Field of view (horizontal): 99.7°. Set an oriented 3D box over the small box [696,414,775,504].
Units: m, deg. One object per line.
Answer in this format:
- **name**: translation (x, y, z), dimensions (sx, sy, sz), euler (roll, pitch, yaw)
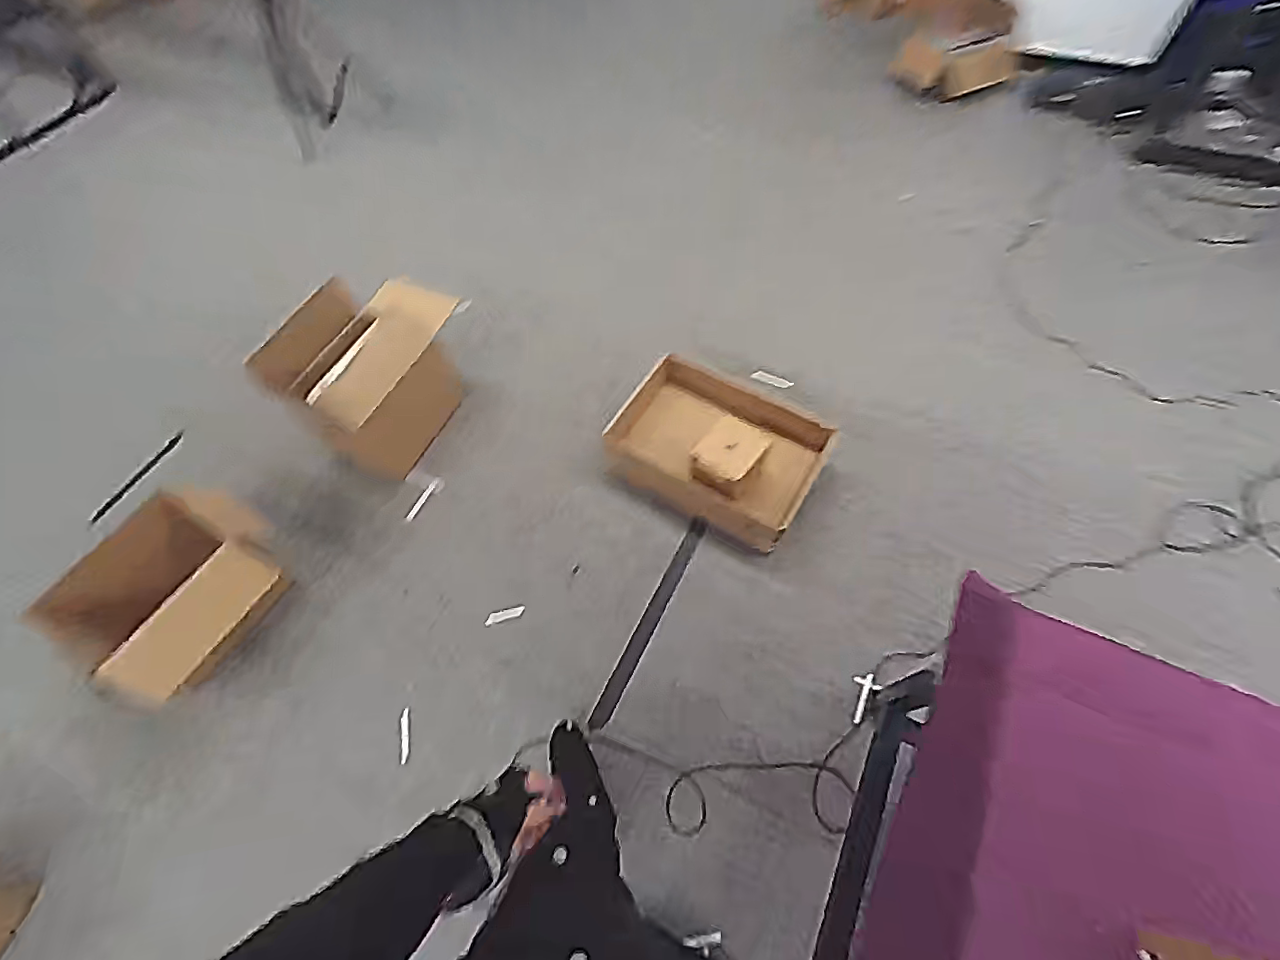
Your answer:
- **small box**: translation (0.287, -0.059, 1.644), dimensions (0.168, 0.176, 0.179), euler (37, 70, 21)
